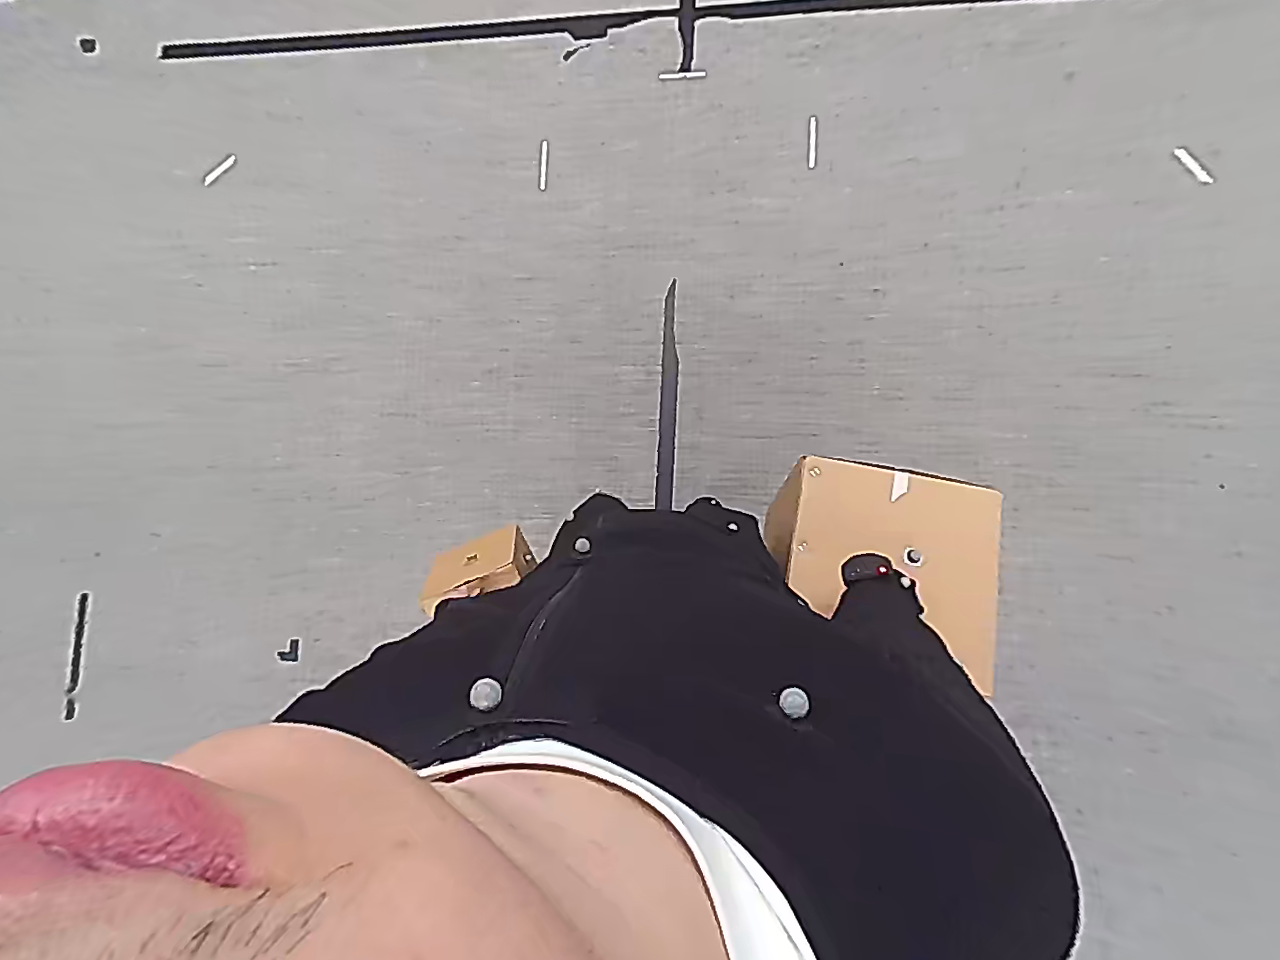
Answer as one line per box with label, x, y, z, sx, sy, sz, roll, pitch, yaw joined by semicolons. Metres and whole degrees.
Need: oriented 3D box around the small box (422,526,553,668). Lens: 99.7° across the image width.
small box;-0.267;0.218;0.991;0.168;0.179;0.176;-23;111;-2
